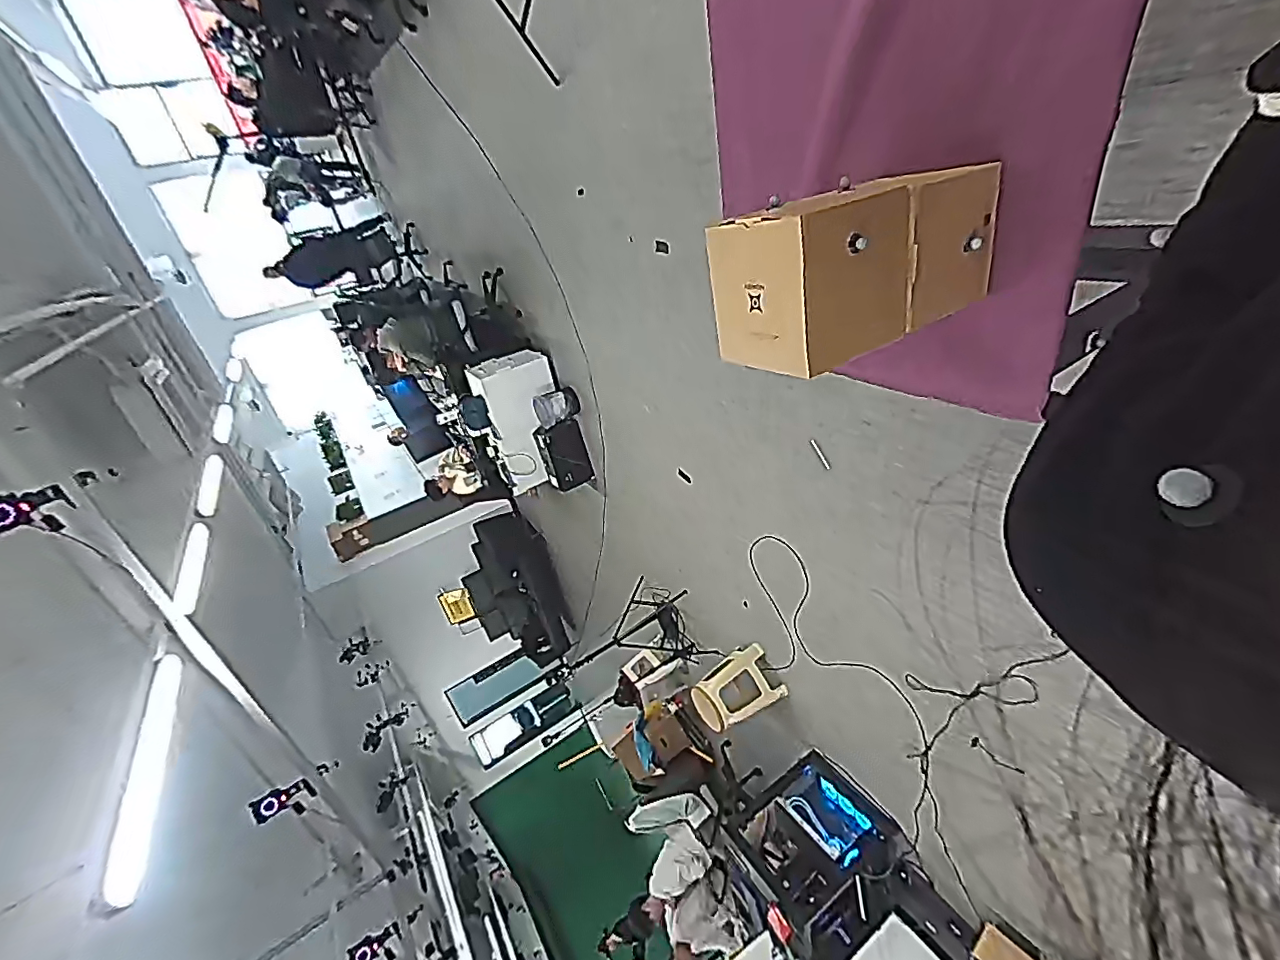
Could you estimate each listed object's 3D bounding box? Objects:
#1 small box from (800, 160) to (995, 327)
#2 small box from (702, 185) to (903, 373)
[{"bbox_3d":[0.337,-0.319,0.734,0.179,0.176,0.168,31,141,52],"label":"small box"},{"bbox_3d":[0.203,-0.253,0.672,0.168,0.176,0.179,32,142,54],"label":"small box"}]
